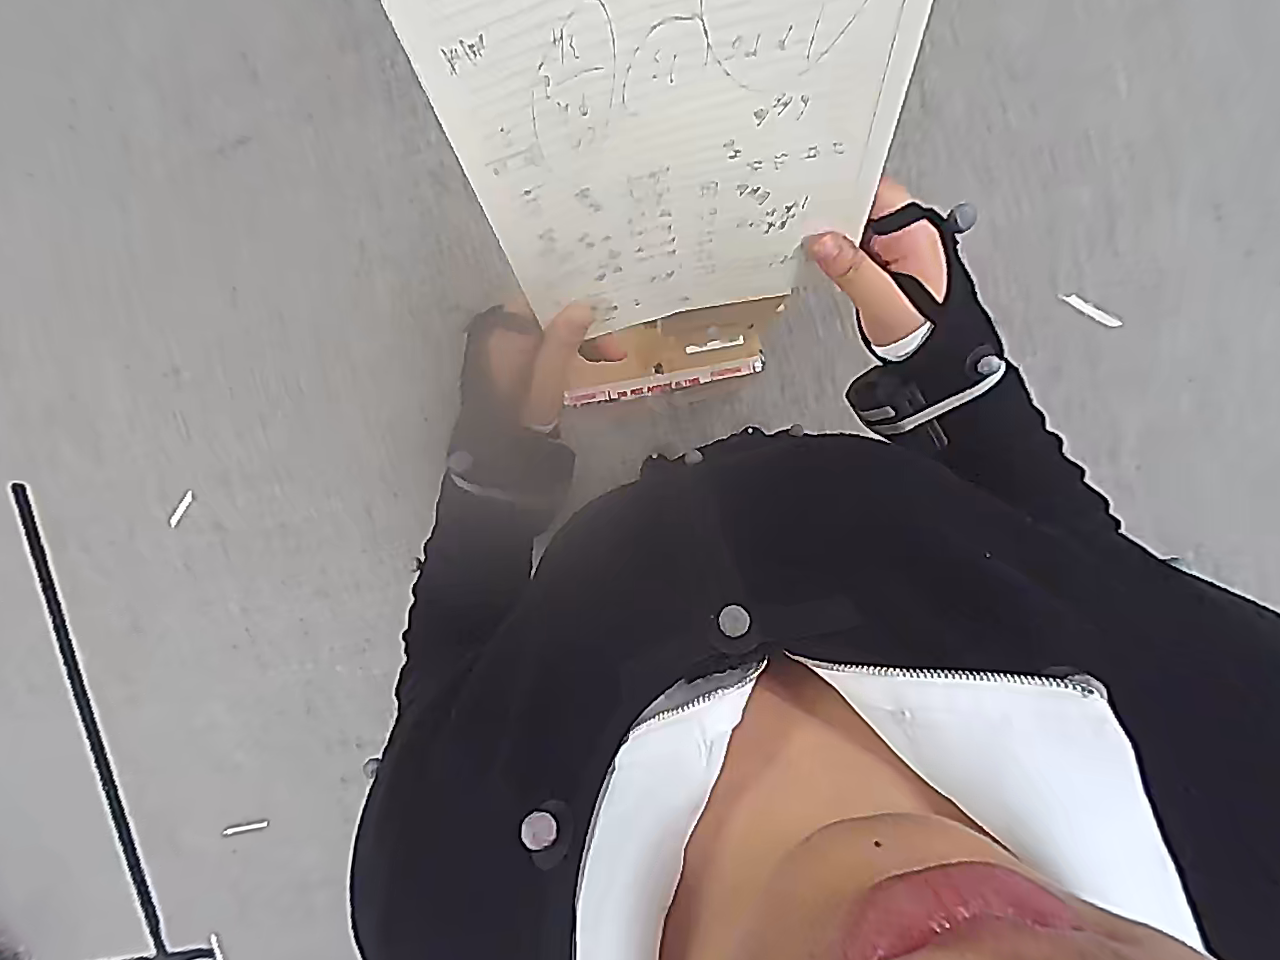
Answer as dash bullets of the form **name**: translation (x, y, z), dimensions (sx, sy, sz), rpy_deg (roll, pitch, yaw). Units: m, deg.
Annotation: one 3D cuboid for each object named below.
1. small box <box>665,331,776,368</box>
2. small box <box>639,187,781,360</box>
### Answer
- **small box**: translation (0.117, -0.296, 0.922), dimensions (0.179, 0.176, 0.168), rpy_deg (-11, 94, 4)
- **small box**: translation (0.090, -0.276, 0.759), dimensions (0.168, 0.176, 0.179), rpy_deg (-8, 95, 3)
